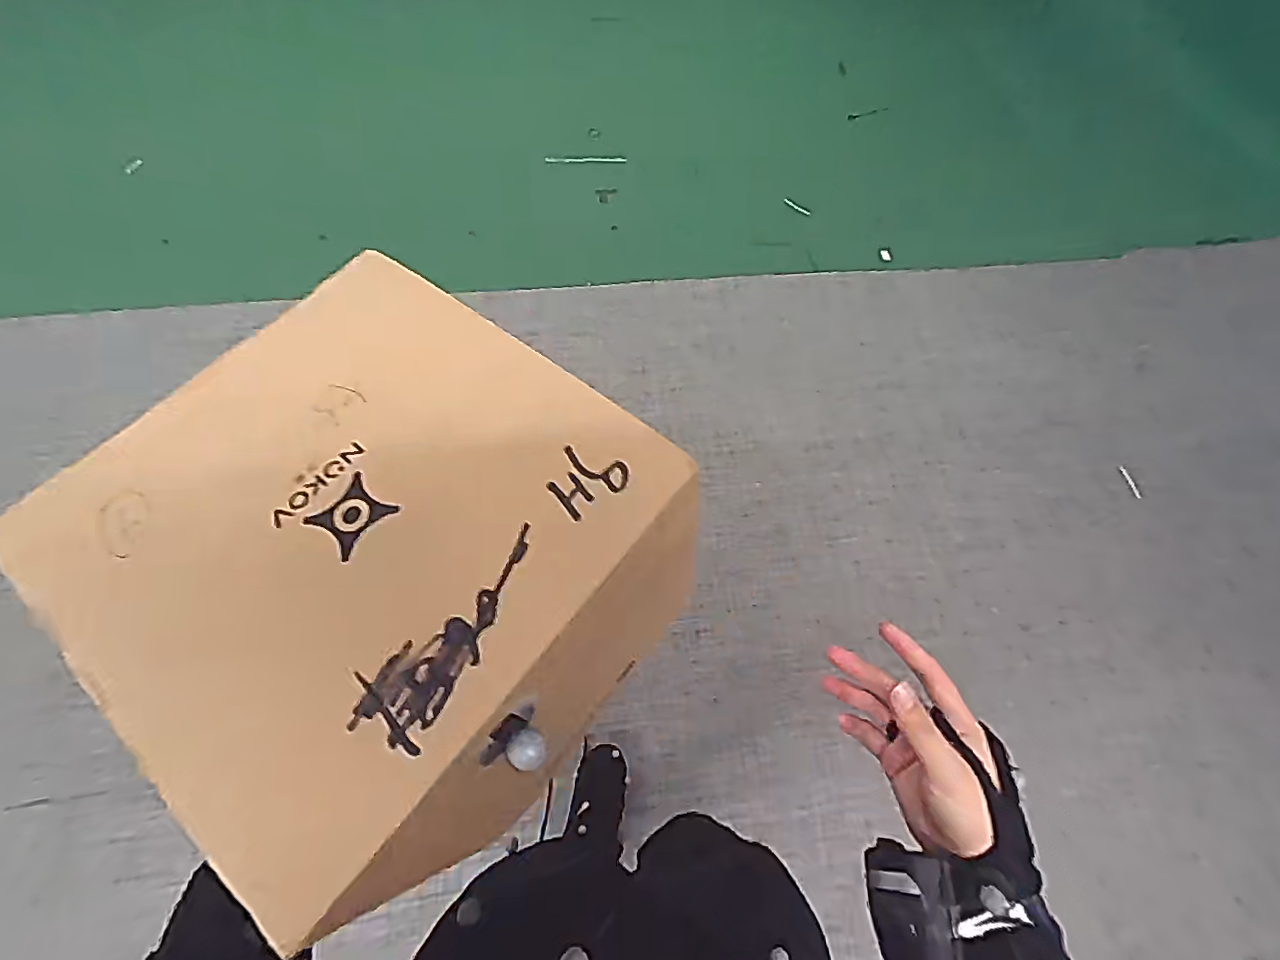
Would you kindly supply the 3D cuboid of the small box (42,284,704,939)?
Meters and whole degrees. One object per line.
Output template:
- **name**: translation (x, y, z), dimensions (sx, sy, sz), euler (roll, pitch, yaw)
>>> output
- **small box**: translation (-0.088, 0.050, 0.258), dimensions (0.179, 0.176, 0.168), euler (34, 71, 19)
